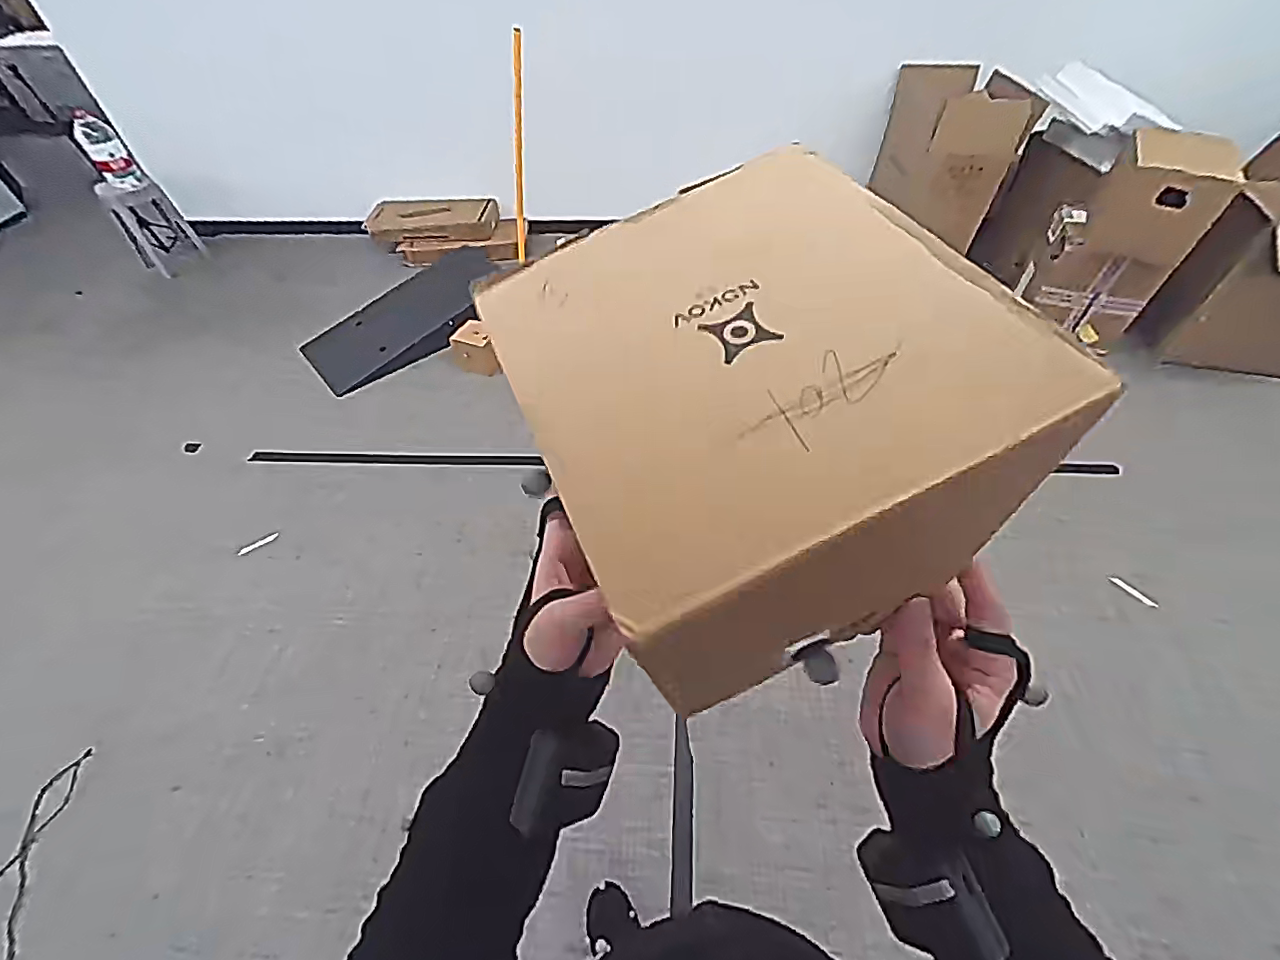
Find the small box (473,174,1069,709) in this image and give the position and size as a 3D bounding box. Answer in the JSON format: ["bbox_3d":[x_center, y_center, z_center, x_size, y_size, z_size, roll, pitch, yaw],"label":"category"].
[{"bbox_3d":[0.045,-0.009,0.278,0.168,0.176,0.179,-29,59,-4],"label":"small box"}]
